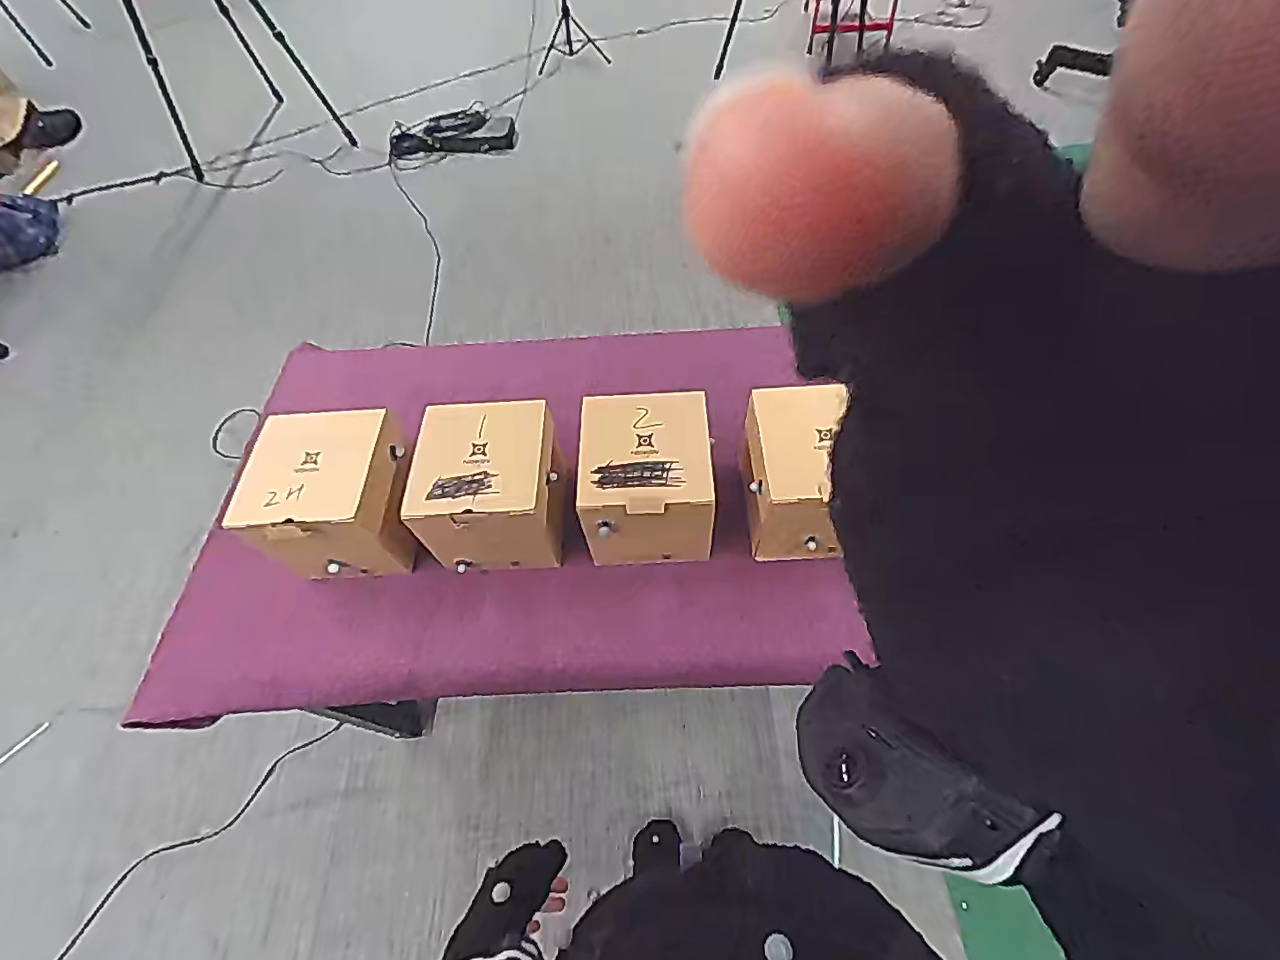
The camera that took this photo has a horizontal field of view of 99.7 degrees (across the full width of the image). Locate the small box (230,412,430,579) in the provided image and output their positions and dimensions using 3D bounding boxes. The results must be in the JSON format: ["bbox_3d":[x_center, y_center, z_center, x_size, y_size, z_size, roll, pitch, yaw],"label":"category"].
[{"bbox_3d":[-0.416,0.025,0.766,0.168,0.176,0.179,-4,58,2],"label":"small box"}]

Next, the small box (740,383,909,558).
[{"bbox_3d":[0.235,-0.009,0.741,0.168,0.176,0.179,-4,58,3],"label":"small box"}]
